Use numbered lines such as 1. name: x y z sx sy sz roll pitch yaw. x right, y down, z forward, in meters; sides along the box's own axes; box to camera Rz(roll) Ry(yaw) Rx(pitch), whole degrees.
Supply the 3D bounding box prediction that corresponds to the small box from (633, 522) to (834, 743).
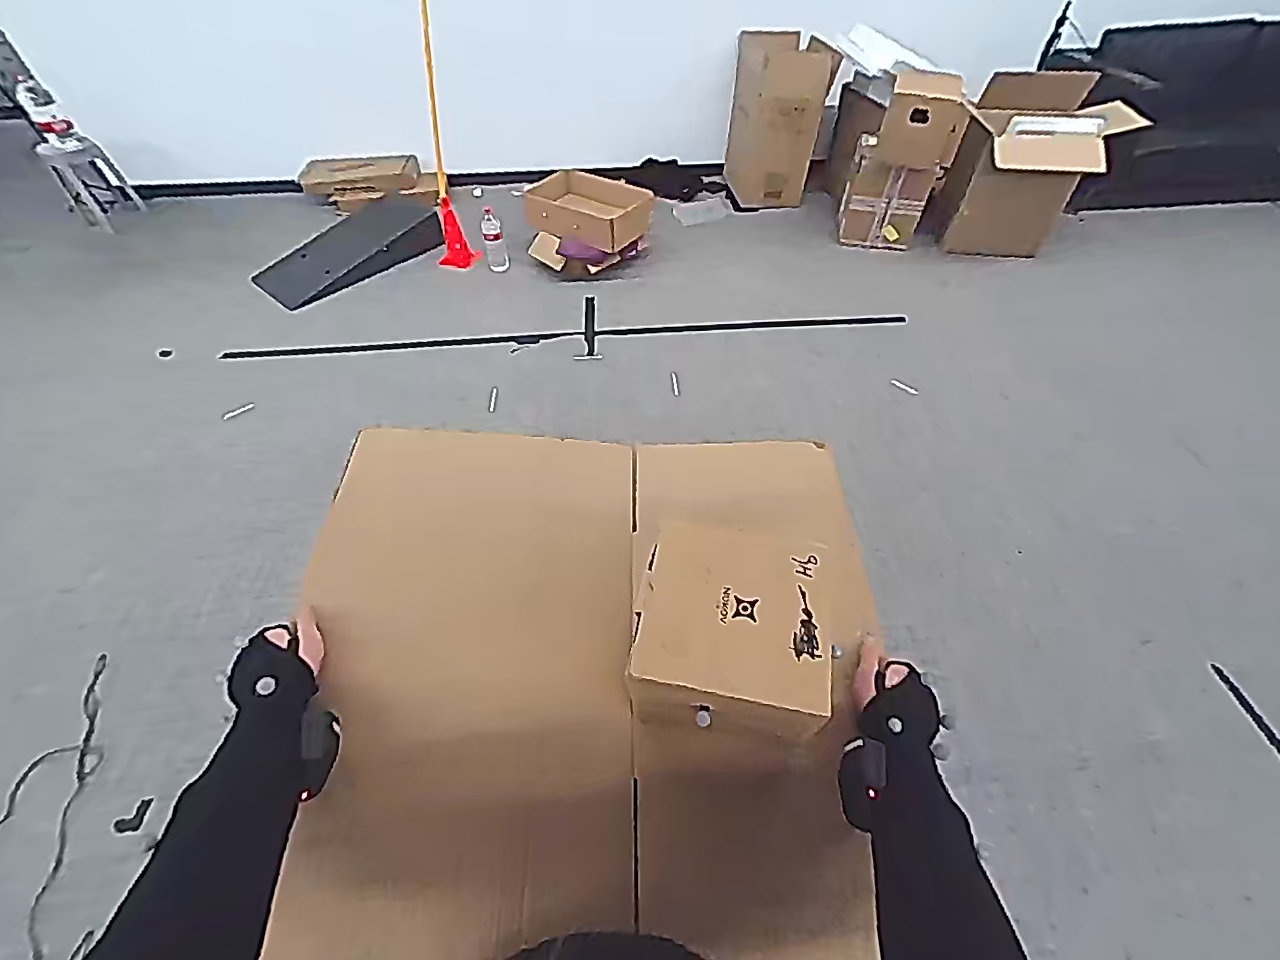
1. small box: 0.100 0.167 0.580 0.179 0.176 0.168 8 55 10
